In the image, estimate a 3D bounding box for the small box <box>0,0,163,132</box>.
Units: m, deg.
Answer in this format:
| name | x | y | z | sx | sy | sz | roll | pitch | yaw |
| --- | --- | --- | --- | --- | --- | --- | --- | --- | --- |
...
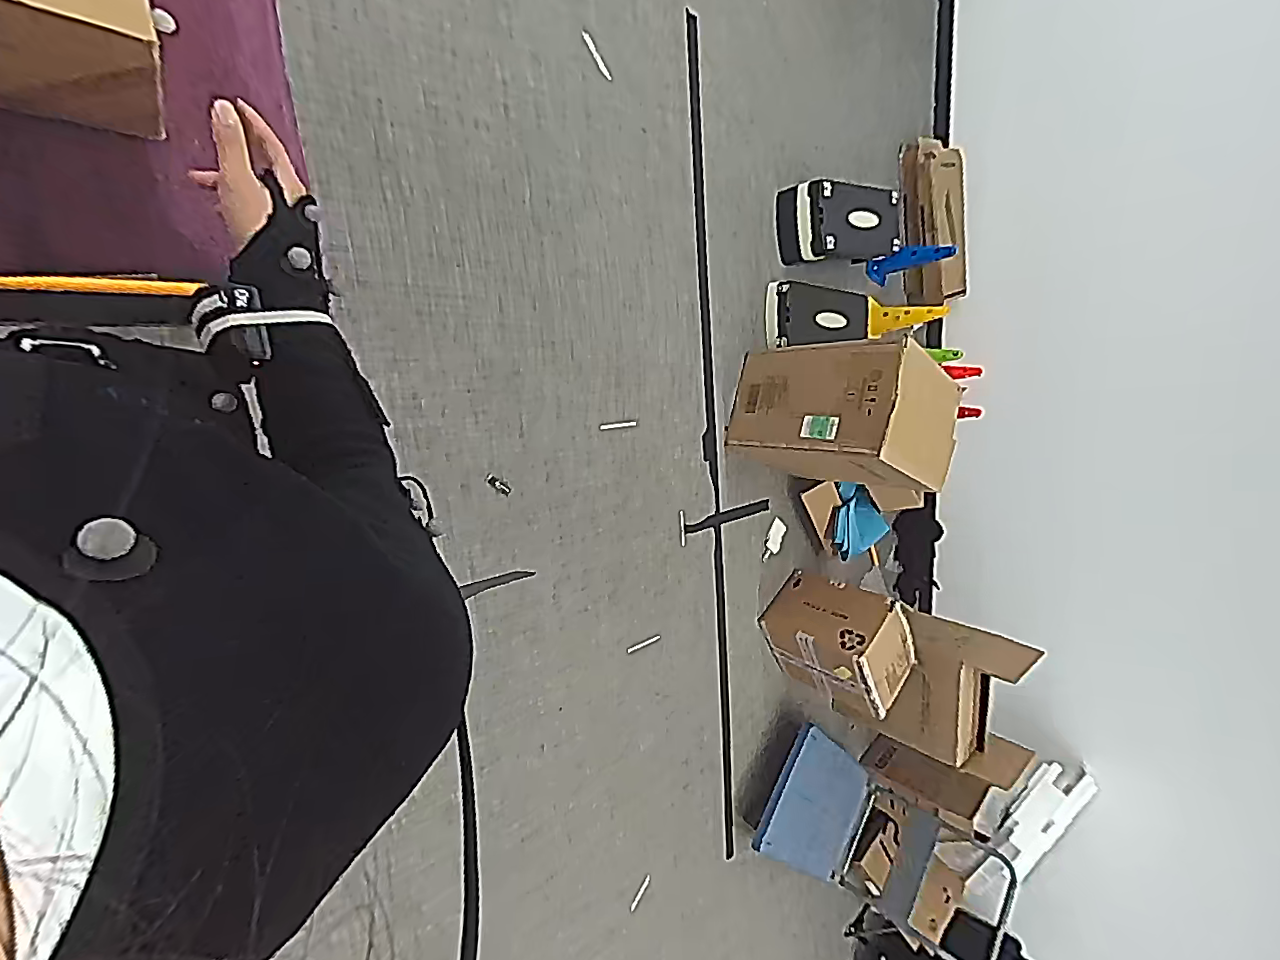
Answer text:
| name | x | y | z | sx | sy | sz | roll | pitch | yaw |
| --- | --- | --- | --- | --- | --- | --- | --- | --- | --- |
| small box | -0.441 | -0.366 | 0.356 | 0.179 | 0.176 | 0.168 | -10 | 101 | -41 |
